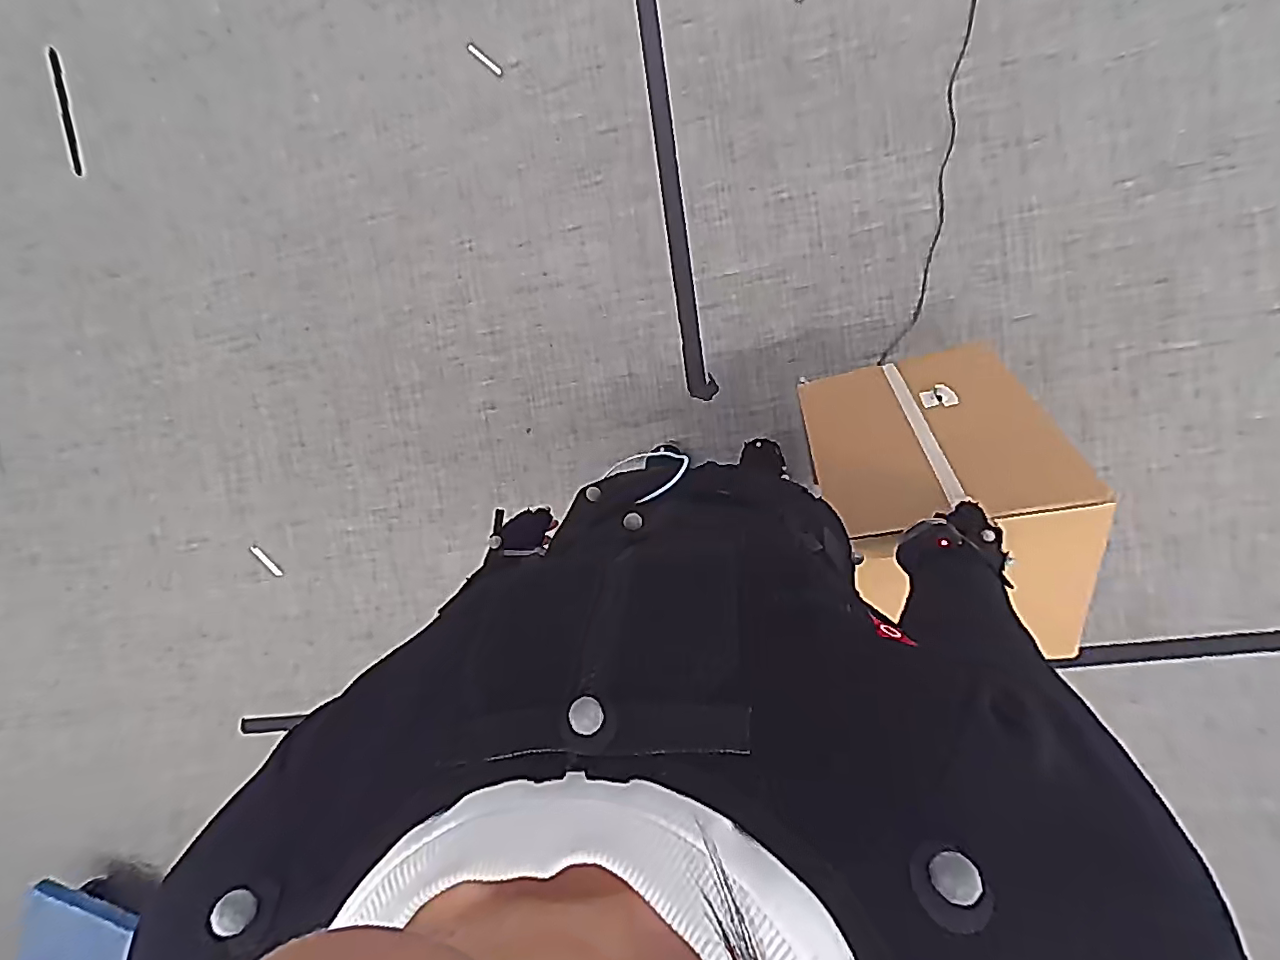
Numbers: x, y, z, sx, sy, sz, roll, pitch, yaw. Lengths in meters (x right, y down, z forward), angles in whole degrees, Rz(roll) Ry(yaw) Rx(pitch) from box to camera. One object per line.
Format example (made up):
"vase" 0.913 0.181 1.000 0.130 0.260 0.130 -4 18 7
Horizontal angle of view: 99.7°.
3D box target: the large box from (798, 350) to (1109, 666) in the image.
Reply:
"large box" 0.469 0.040 0.902 0.320 0.408 0.320 -10 126 15
